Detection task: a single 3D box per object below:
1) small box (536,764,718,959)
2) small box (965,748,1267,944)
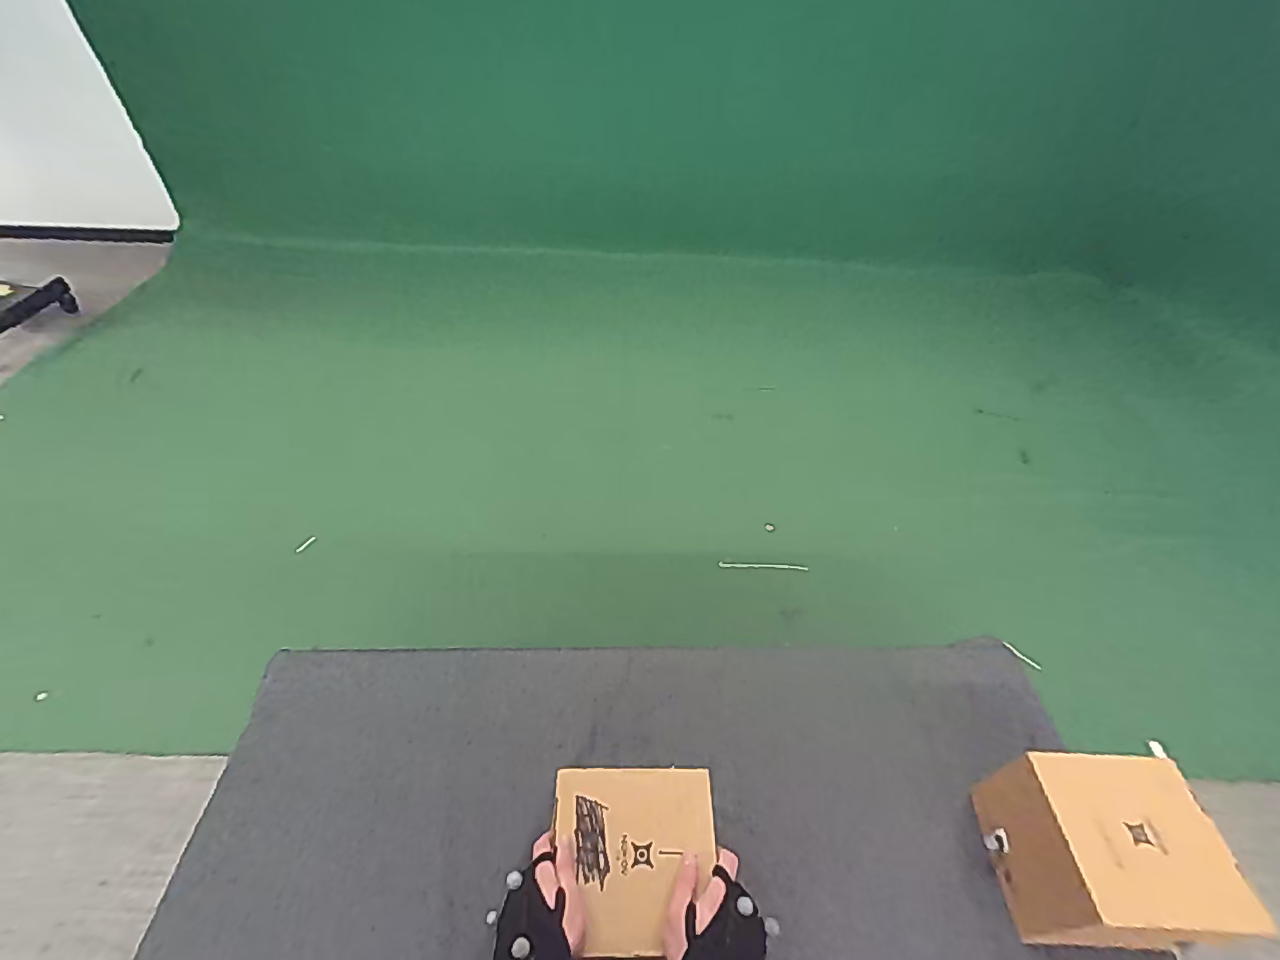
[{"bbox_3d":[-0.015,0.440,0.619,0.179,0.176,0.168,2,47,-2],"label":"small box"},{"bbox_3d":[0.537,0.438,0.646,0.179,0.176,0.168,1,45,0],"label":"small box"}]
